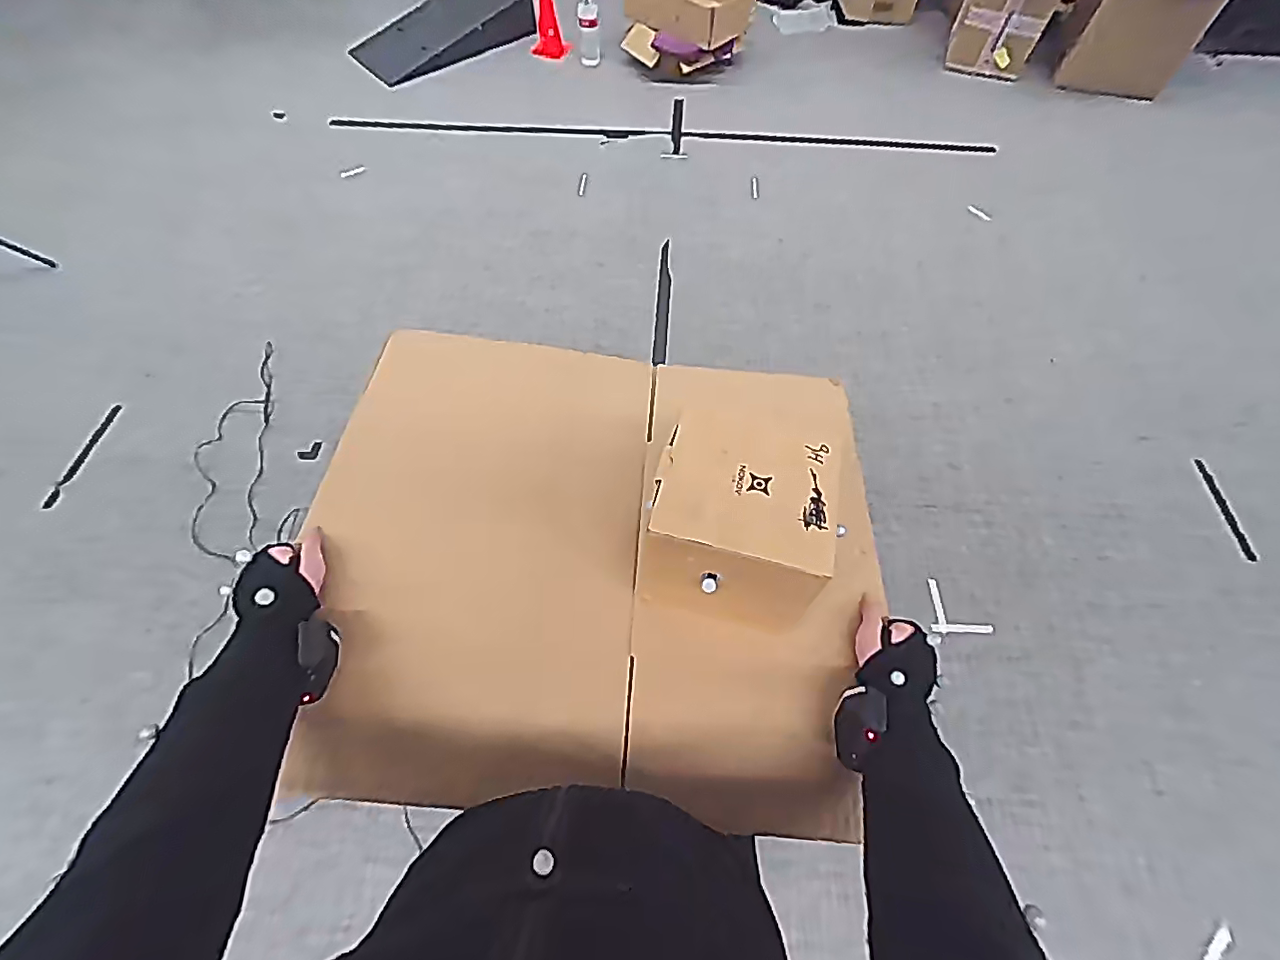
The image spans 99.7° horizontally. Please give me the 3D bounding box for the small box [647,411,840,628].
[{"bbox_3d":[0.110,0.050,0.612,0.179,0.176,0.168,13,58,8],"label":"small box"}]
